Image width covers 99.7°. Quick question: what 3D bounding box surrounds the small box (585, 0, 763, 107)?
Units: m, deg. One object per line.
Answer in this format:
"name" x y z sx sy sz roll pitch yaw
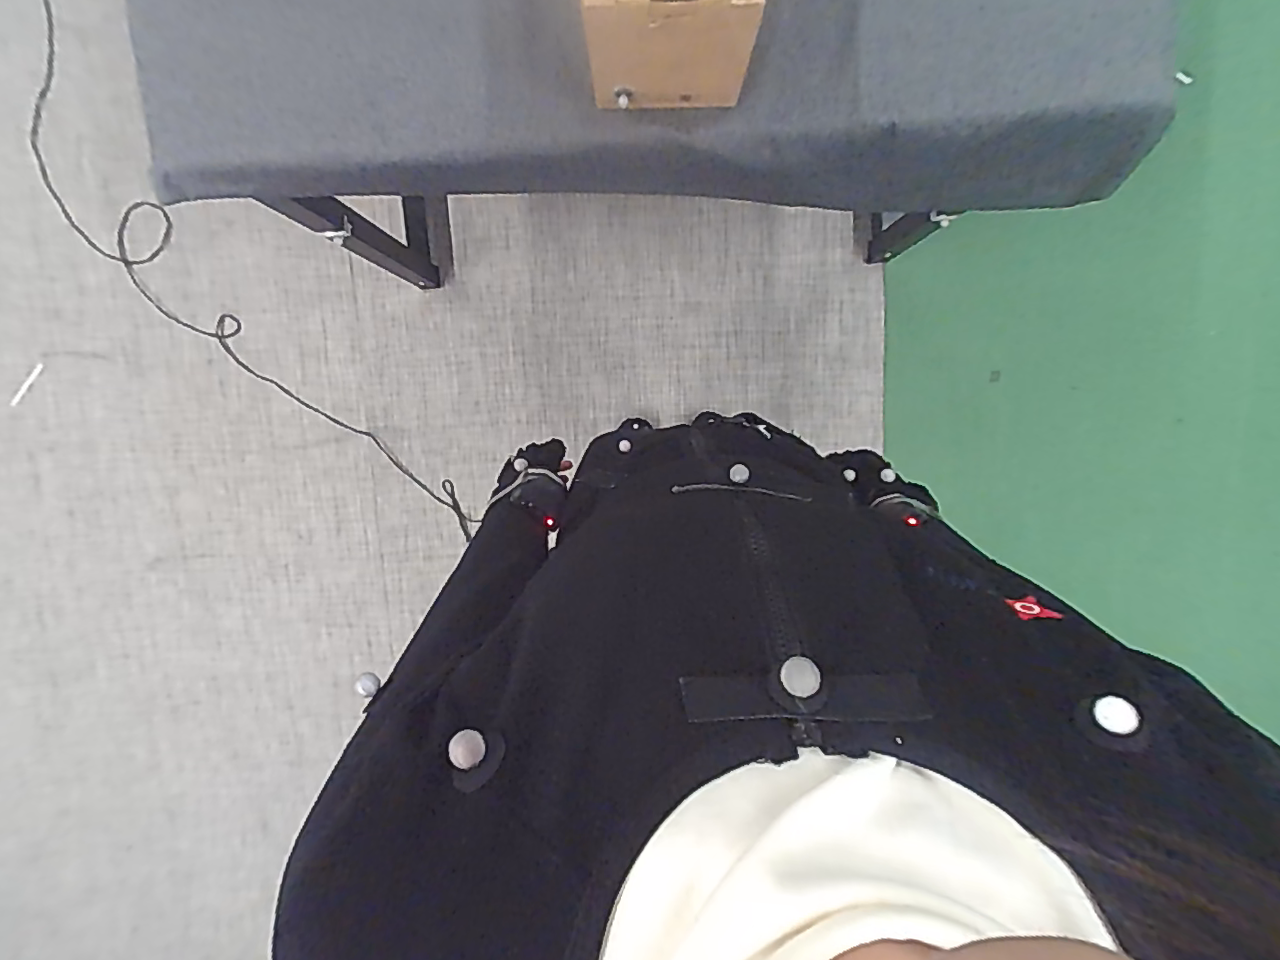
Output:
"small box" 0.034 -0.522 0.559 0.168 0.176 0.179 1 96 0
